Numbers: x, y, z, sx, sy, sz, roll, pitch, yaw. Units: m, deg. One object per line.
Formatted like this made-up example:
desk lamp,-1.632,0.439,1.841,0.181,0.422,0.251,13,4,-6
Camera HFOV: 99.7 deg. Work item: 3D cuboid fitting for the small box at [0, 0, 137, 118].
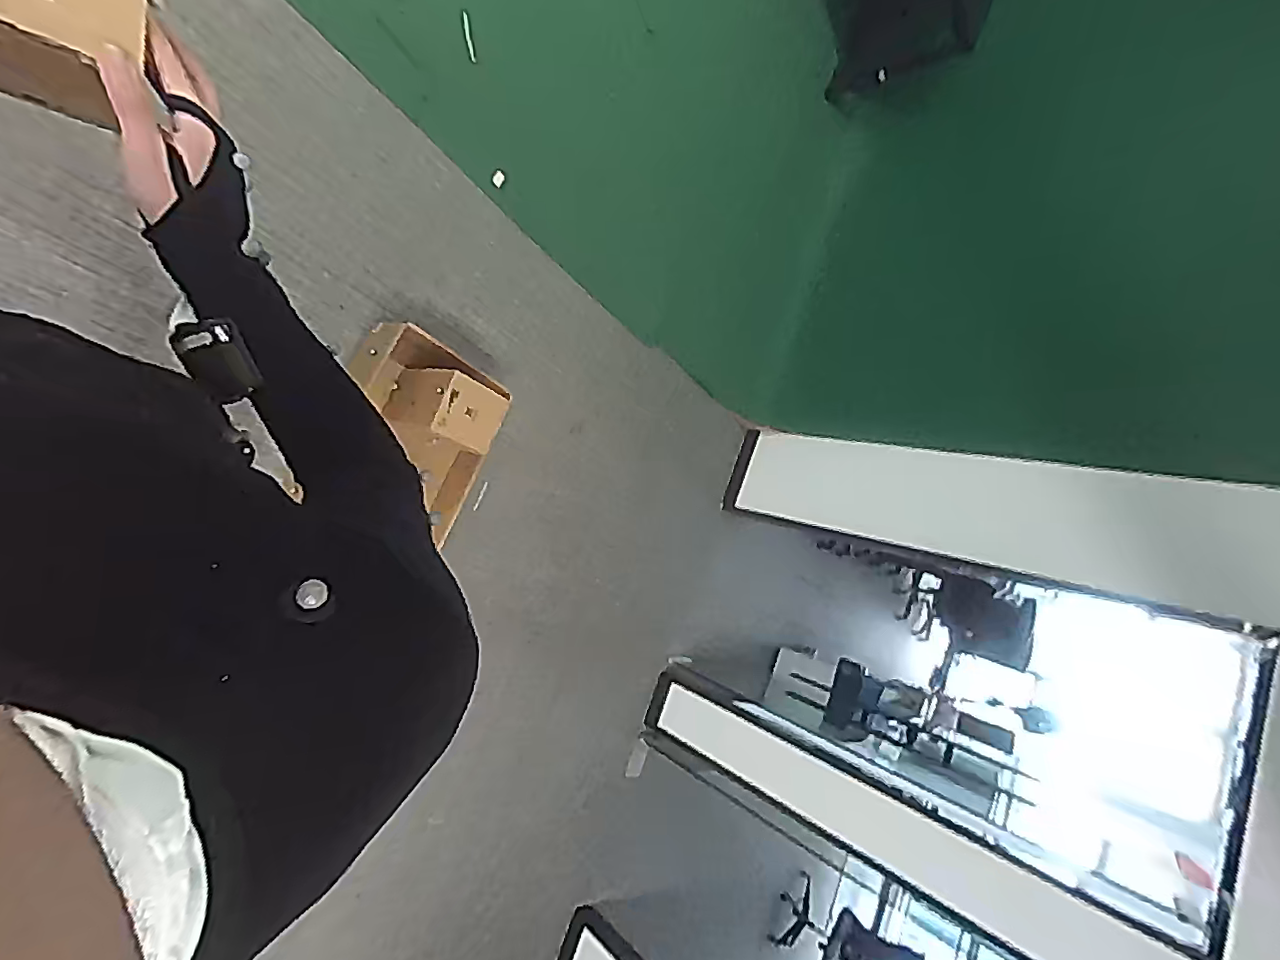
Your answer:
small box,-0.454,-0.388,0.367,0.168,0.176,0.179,1,101,-46

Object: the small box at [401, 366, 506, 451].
small box,-0.502,-0.197,1.453,0.179,0.176,0.168,31,77,-48
